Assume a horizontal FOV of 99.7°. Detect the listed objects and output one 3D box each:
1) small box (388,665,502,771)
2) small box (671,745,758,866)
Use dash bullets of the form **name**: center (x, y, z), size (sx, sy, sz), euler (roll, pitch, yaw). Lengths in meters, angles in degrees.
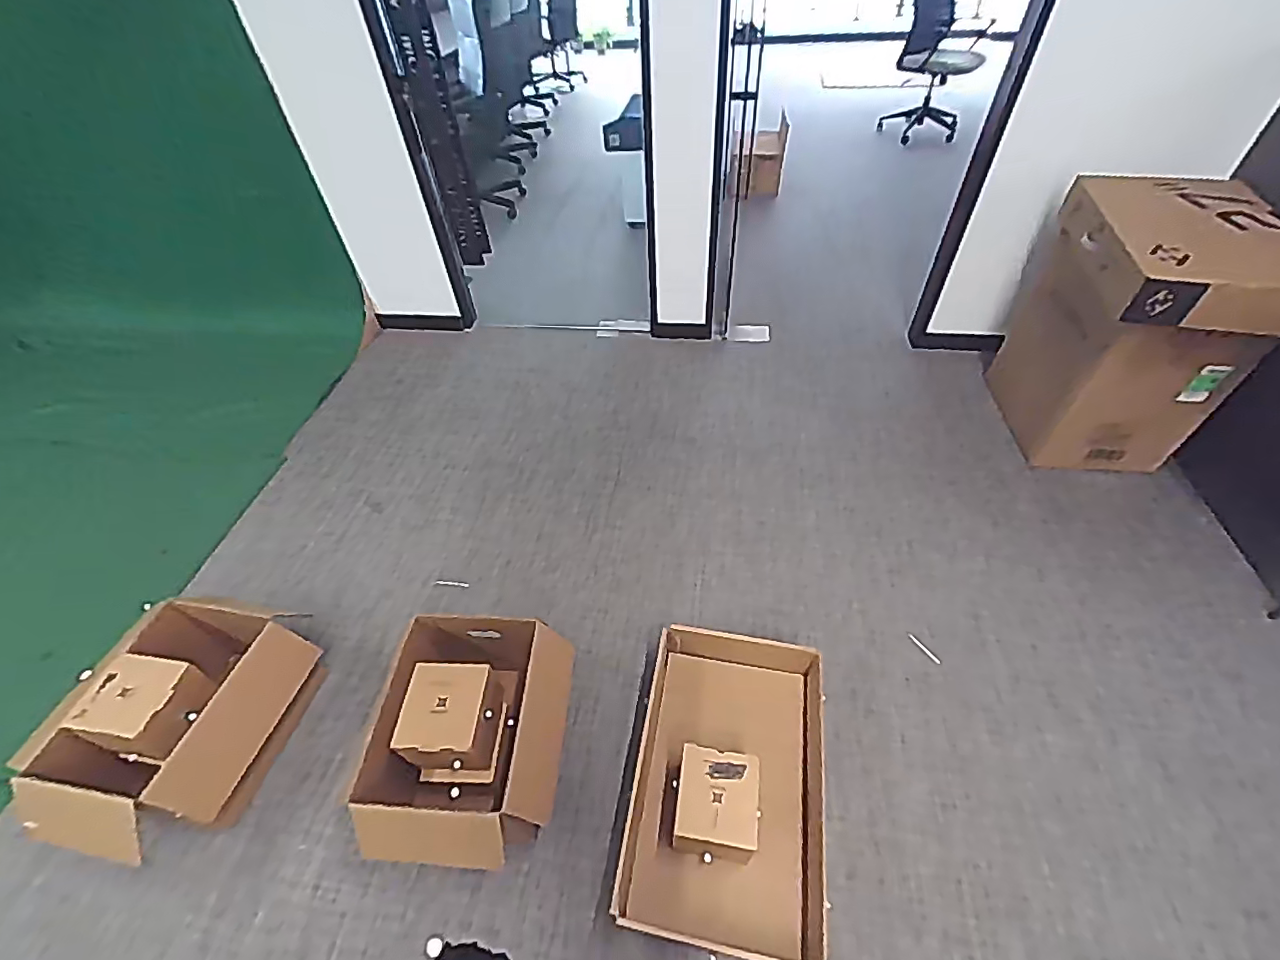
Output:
- **small box**: center (-0.411, 0.521, 1.177), size (0.168, 0.176, 0.179), euler (1, 49, 3)
- **small box**: center (0.158, 0.701, 1.164), size (0.168, 0.176, 0.179), euler (6, 48, 8)
